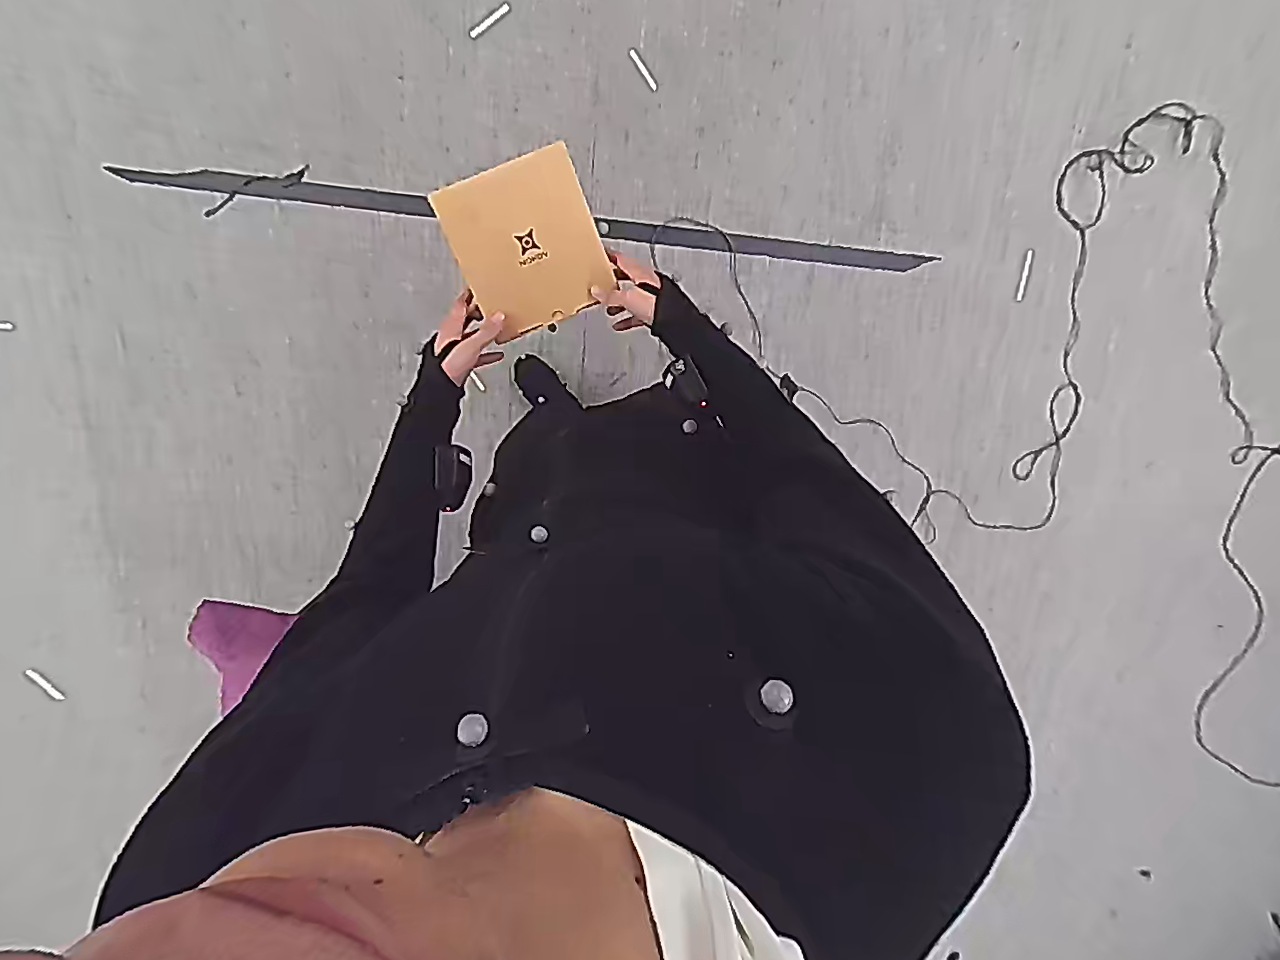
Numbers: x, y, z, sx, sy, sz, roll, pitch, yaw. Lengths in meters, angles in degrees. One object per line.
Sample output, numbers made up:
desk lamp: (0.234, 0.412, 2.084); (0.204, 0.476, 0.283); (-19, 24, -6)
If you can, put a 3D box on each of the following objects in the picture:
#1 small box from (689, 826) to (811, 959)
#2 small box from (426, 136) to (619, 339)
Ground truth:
small box: (0.194, 0.789, 1.012); (0.168, 0.176, 0.179); (10, 103, -5)
small box: (-0.142, -0.293, 0.690); (0.168, 0.176, 0.179); (-23, 110, -1)
